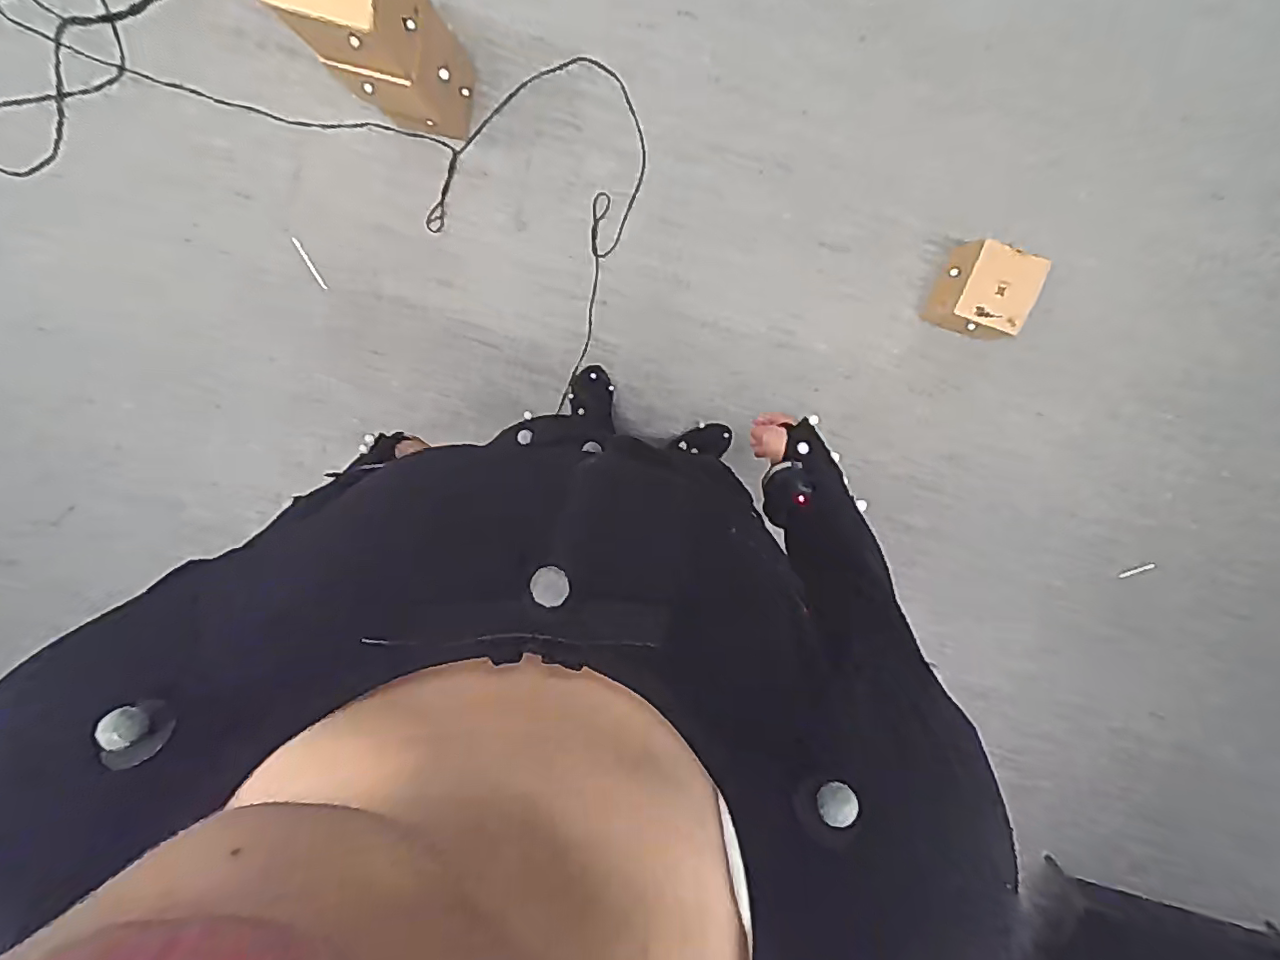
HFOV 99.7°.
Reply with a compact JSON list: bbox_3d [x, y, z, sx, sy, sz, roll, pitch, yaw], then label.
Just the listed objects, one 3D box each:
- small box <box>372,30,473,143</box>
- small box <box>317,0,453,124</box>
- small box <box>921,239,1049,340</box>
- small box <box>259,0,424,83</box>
[{"bbox_3d":[-0.491,-0.890,1.219,0.179,0.176,0.168,10,102,-1],"label":"small box"},{"bbox_3d":[-0.493,-0.837,1.063,0.179,0.176,0.168,13,103,-3],"label":"small box"},{"bbox_3d":[0.817,-0.449,1.303,0.168,0.176,0.179,18,101,-3],"label":"small box"},{"bbox_3d":[-0.489,-0.807,0.903,0.179,0.176,0.168,12,102,-3],"label":"small box"}]
